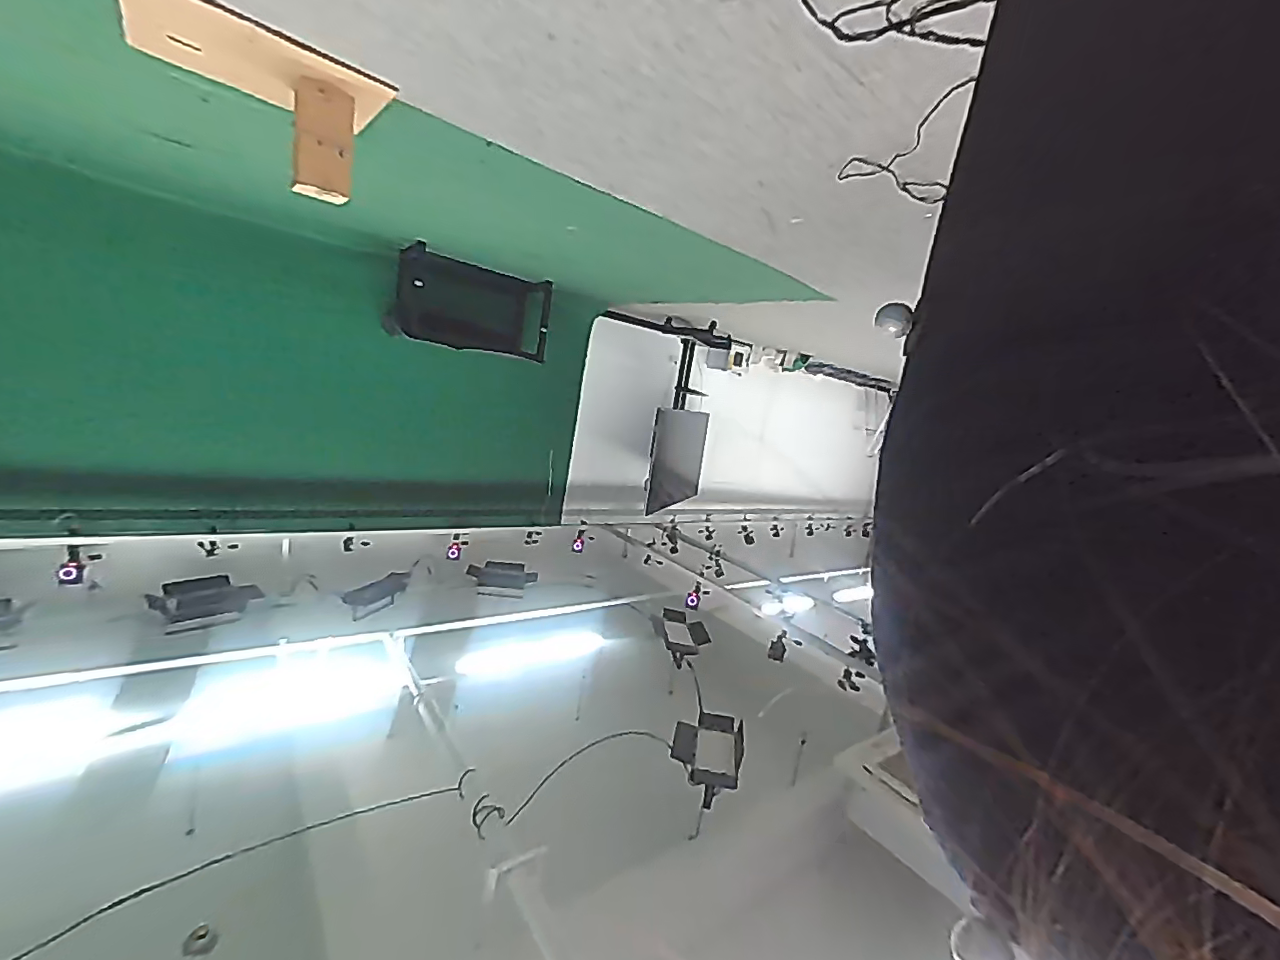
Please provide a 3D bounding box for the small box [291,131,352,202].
[{"bbox_3d":[-1.158,-1.134,1.961,0.168,0.176,0.179,1,-166,-41],"label":"small box"}]

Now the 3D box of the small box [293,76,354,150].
[{"bbox_3d":[-1.131,-1.294,1.931,0.168,0.176,0.179,0,-167,-39],"label":"small box"}]
